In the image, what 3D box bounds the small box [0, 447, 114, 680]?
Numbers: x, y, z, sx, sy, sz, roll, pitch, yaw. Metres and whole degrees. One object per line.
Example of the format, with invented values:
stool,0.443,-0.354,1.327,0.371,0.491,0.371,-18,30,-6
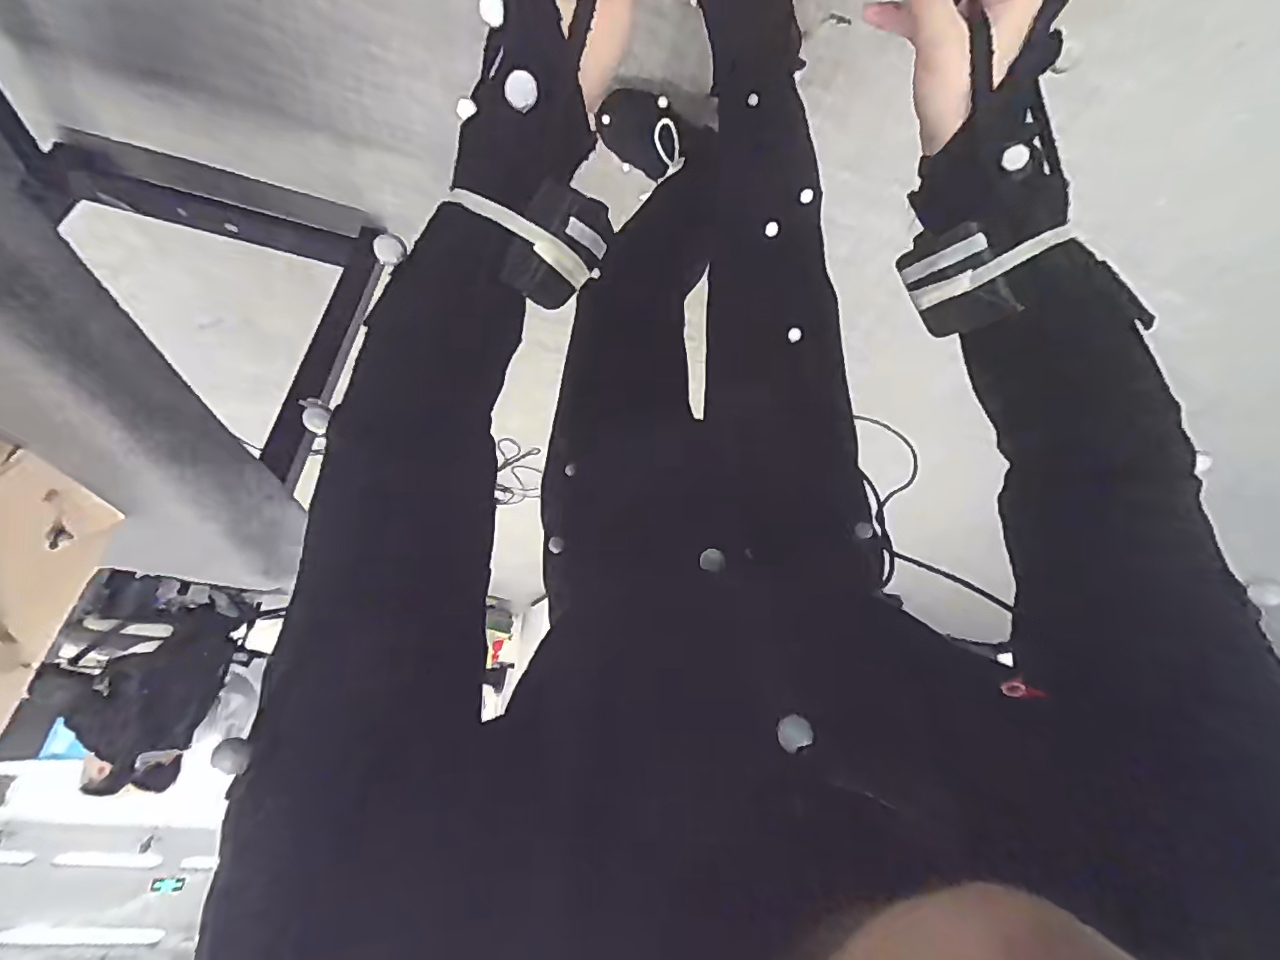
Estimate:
small box,-0.633,0.065,0.466,0.179,0.176,0.168,10,151,-11
